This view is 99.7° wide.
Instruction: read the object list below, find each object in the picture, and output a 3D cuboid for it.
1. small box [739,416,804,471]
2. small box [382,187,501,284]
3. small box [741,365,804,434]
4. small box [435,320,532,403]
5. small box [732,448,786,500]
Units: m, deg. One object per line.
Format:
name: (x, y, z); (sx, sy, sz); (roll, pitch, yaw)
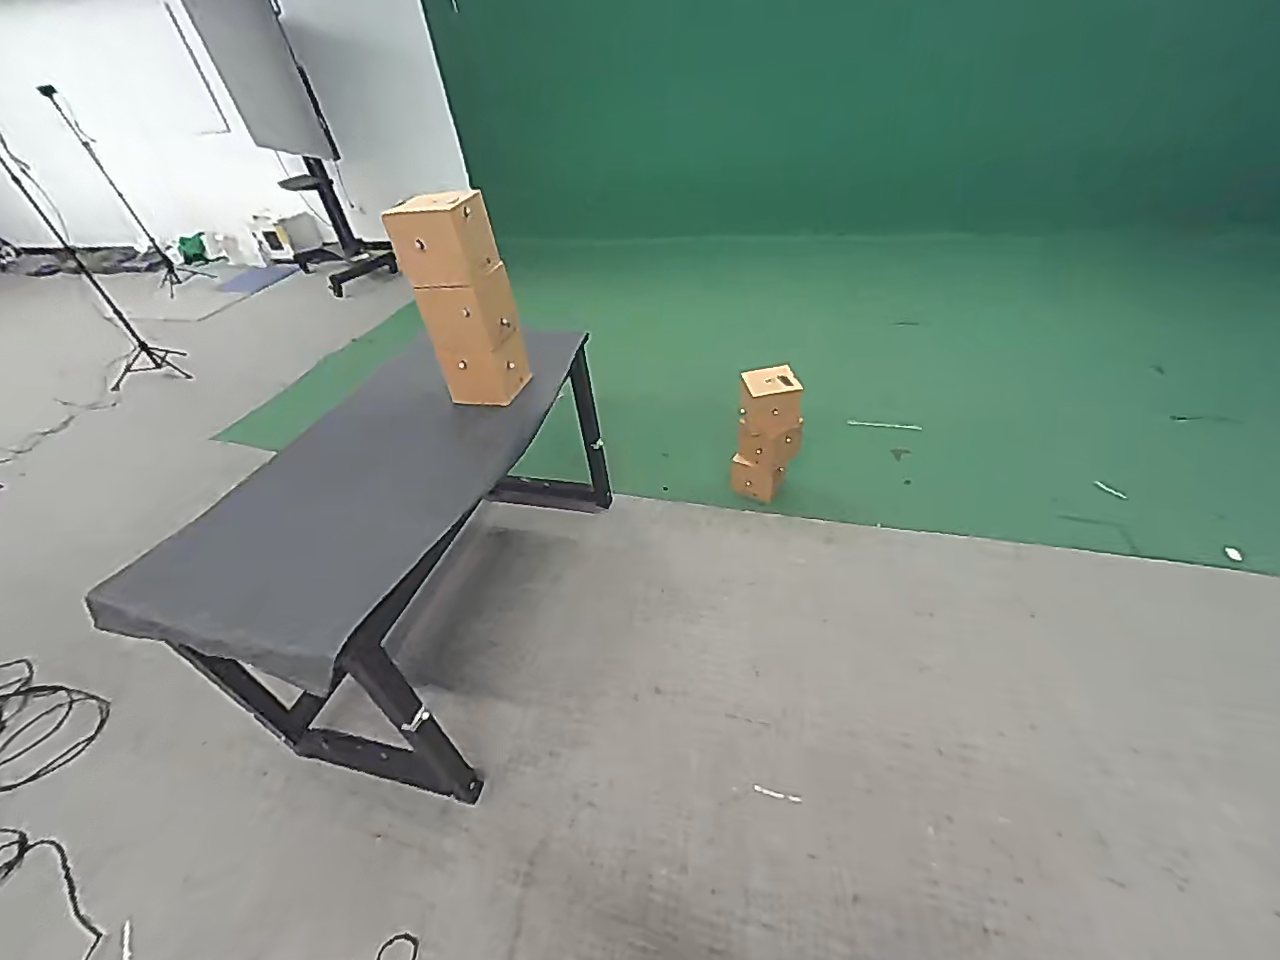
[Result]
small box: (0.491, -0.160, 2.034); (0.179, 0.176, 0.168); (-29, 47, -24)
small box: (-0.457, -0.571, 1.273); (0.179, 0.176, 0.168); (3, 42, 14)
small box: (0.467, -0.285, 1.929); (0.179, 0.176, 0.168); (-9, 42, -1)
small box: (-0.419, -0.325, 1.487); (0.179, 0.176, 0.168); (5, 42, 16)
small box: (0.478, -0.045, 2.152); (0.168, 0.176, 0.179); (19, 47, 27)
